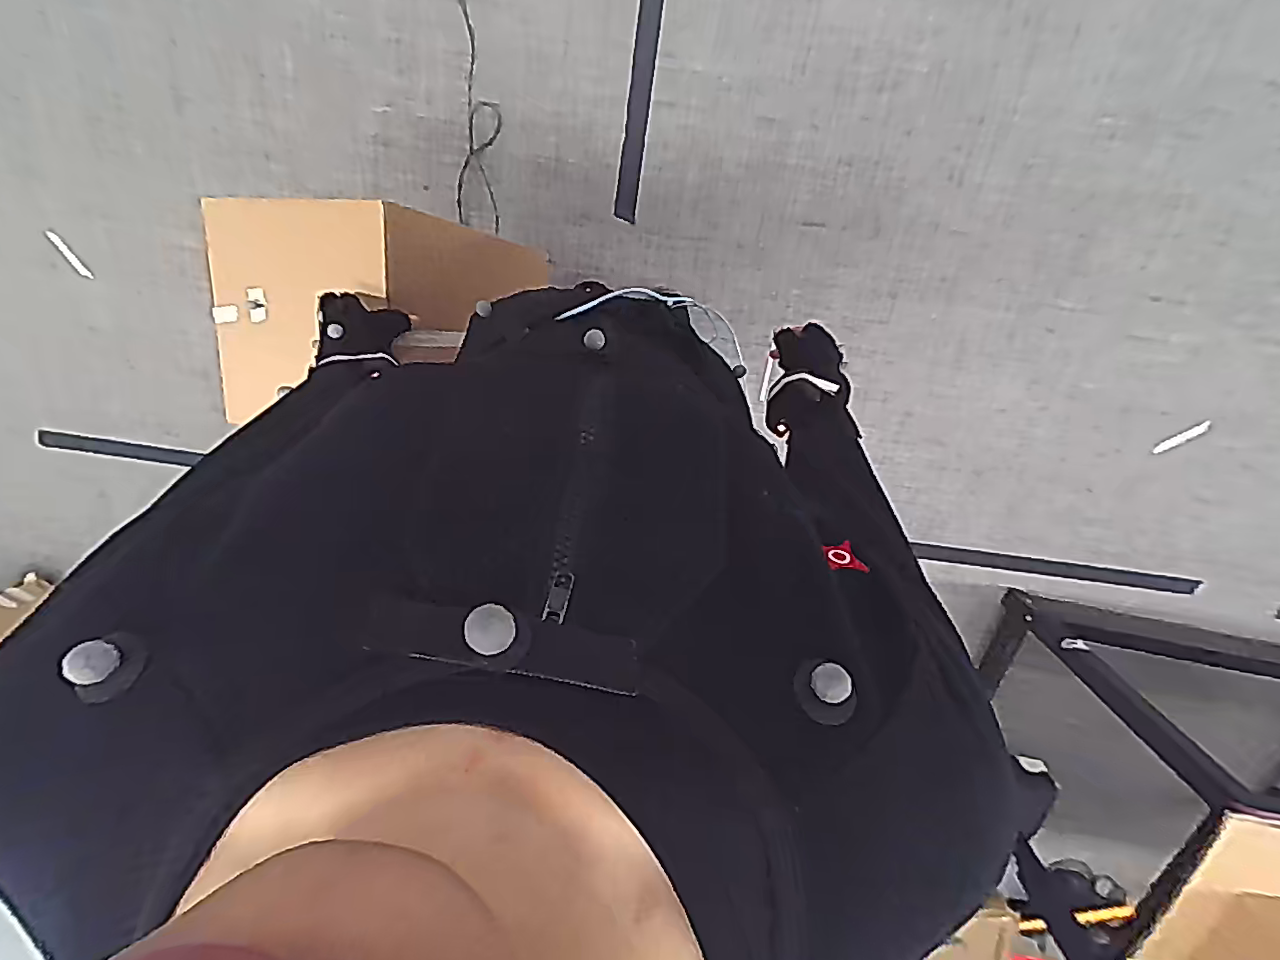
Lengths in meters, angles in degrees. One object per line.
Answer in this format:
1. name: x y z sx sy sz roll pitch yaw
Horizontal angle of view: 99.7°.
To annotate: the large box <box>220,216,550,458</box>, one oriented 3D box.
1. large box: -0.390 -0.245 0.920 0.320 0.408 0.320 11 106 16
